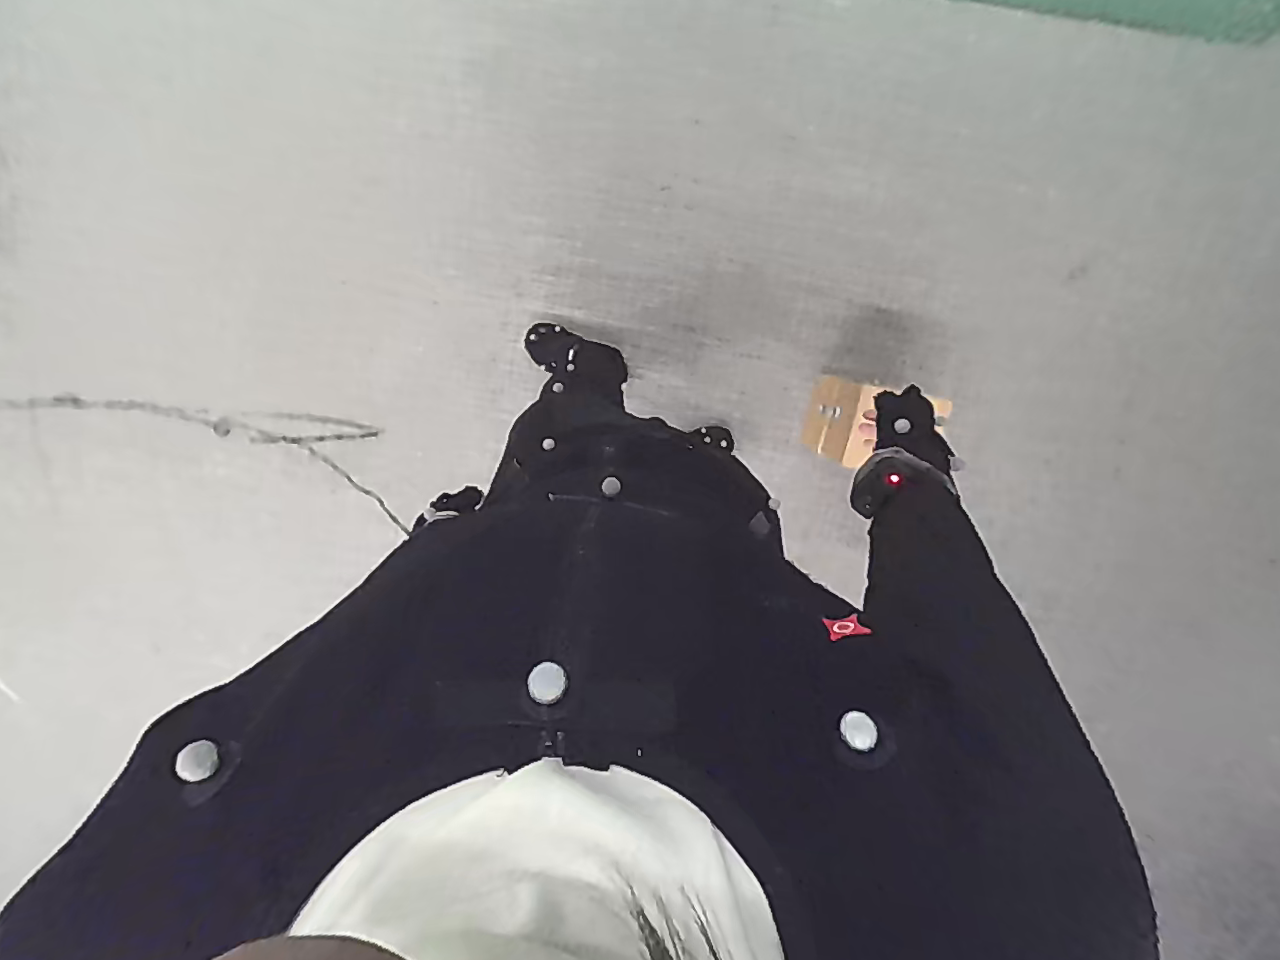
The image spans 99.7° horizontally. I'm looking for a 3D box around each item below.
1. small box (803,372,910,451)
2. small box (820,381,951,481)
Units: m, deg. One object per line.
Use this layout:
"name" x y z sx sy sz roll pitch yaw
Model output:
"small box" 0.500 -0.151 1.278 0.168 0.176 0.179 14 105 1
"small box" 0.496 -0.109 1.121 0.179 0.176 0.168 12 103 3
